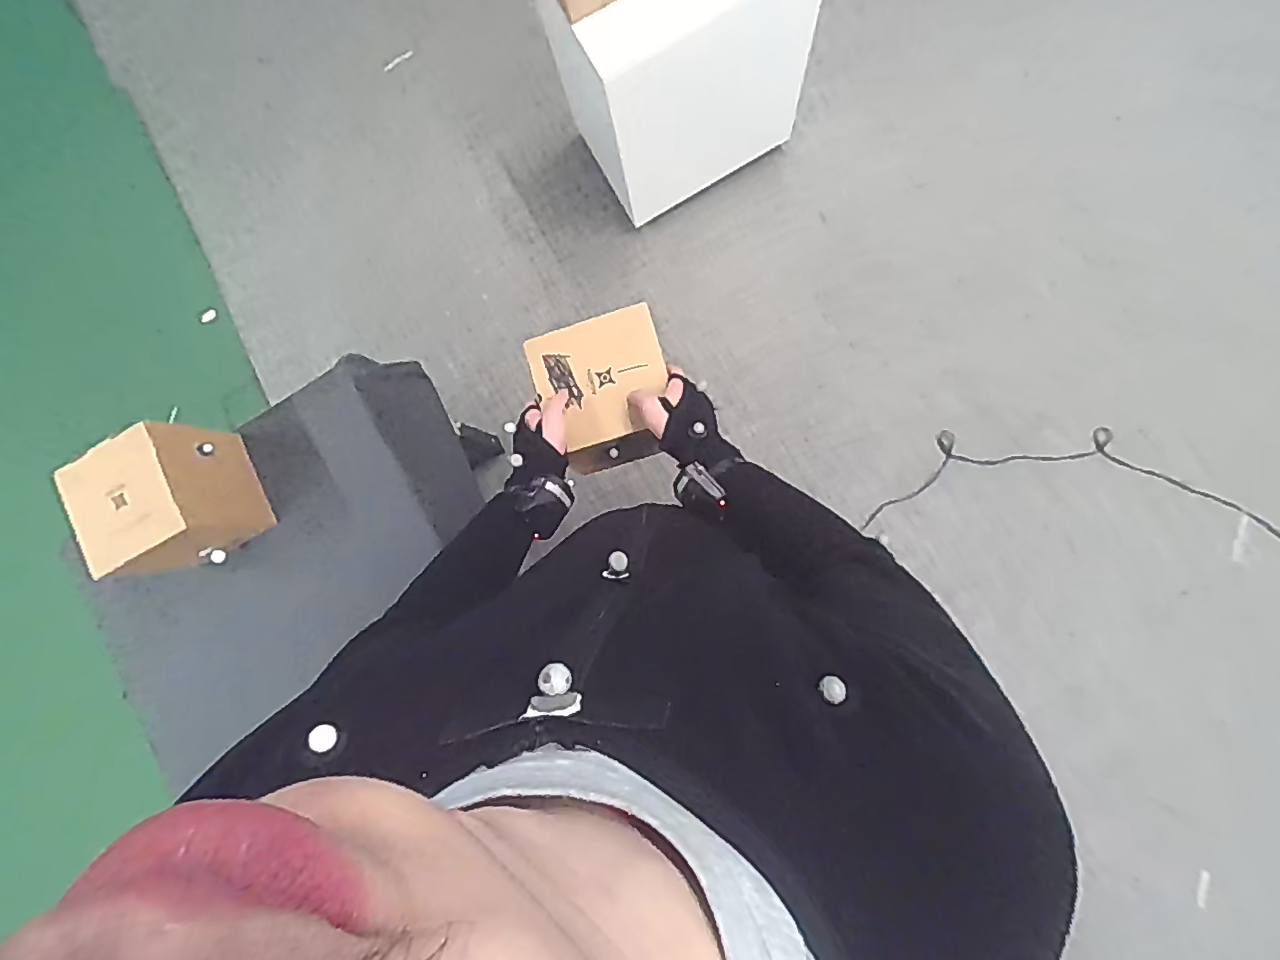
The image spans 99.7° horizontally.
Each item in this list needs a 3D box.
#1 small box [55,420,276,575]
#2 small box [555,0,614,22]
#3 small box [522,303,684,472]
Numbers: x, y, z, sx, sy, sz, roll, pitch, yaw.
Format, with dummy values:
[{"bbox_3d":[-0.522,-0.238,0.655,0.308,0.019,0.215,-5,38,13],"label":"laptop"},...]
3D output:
[{"bbox_3d":[-0.728,0.029,0.848,0.168,0.176,0.179,-28,85,5],"label":"small box"},{"bbox_3d":[-0.103,-0.996,0.971,0.179,0.176,0.168,-27,84,3],"label":"small box"},{"bbox_3d":[-0.044,-0.118,0.769,0.179,0.176,0.168,-16,80,6],"label":"small box"}]
